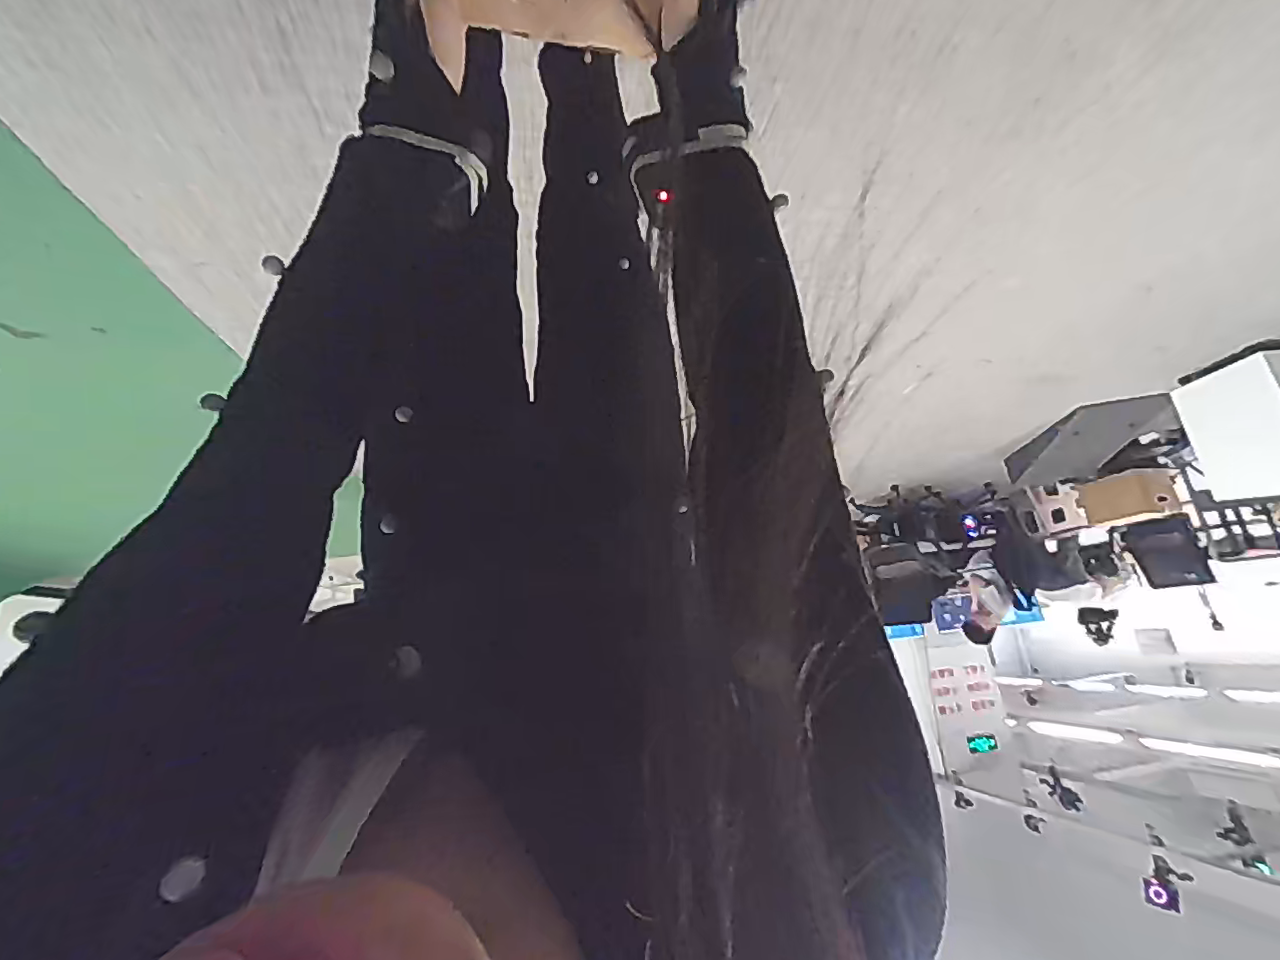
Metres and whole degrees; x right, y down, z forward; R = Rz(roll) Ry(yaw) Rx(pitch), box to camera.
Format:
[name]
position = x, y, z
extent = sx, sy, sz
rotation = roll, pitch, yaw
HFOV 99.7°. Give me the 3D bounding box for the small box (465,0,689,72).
[small box]
position = -0.041, -0.448, 0.381
extent = 0.168, 0.176, 0.179
rotation = -1, 162, -17
